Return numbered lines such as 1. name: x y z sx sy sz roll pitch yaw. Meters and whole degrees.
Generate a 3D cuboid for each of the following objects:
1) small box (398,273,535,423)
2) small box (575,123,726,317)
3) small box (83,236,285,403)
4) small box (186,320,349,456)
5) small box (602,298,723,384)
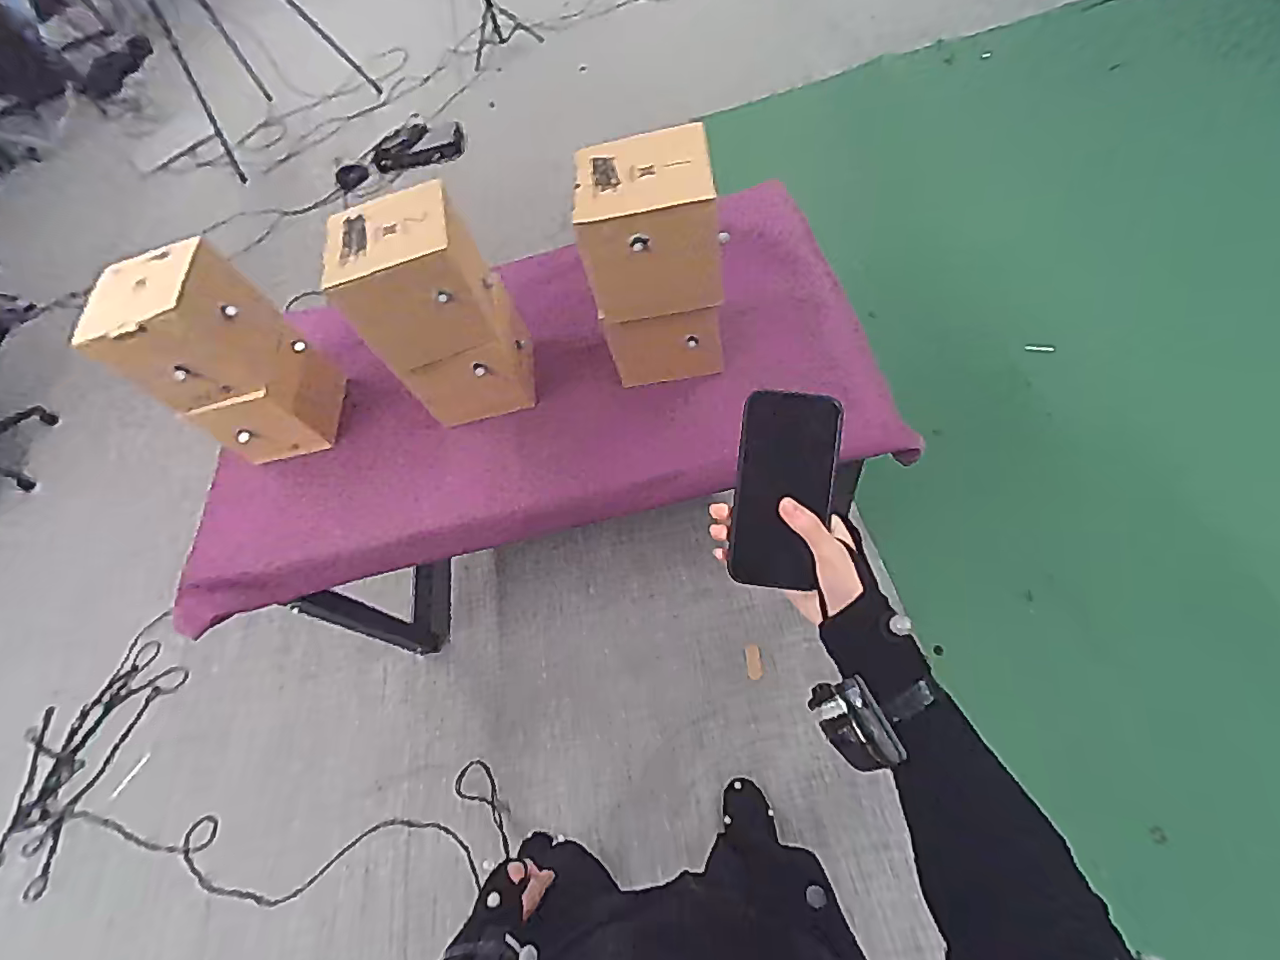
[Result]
1. small box: -0.290 -0.224 0.944 0.179 0.176 0.168 -12 60 6
2. small box: 0.020 -0.349 0.751 0.179 0.176 0.168 -7 60 9
3. small box: -0.706 -0.244 0.863 0.168 0.176 0.179 -16 60 3
4. small box: -0.671 -0.159 0.999 0.168 0.176 0.179 -12 60 7
5. small box: 0.043 -0.283 0.900 0.179 0.176 0.168 -7 60 10
